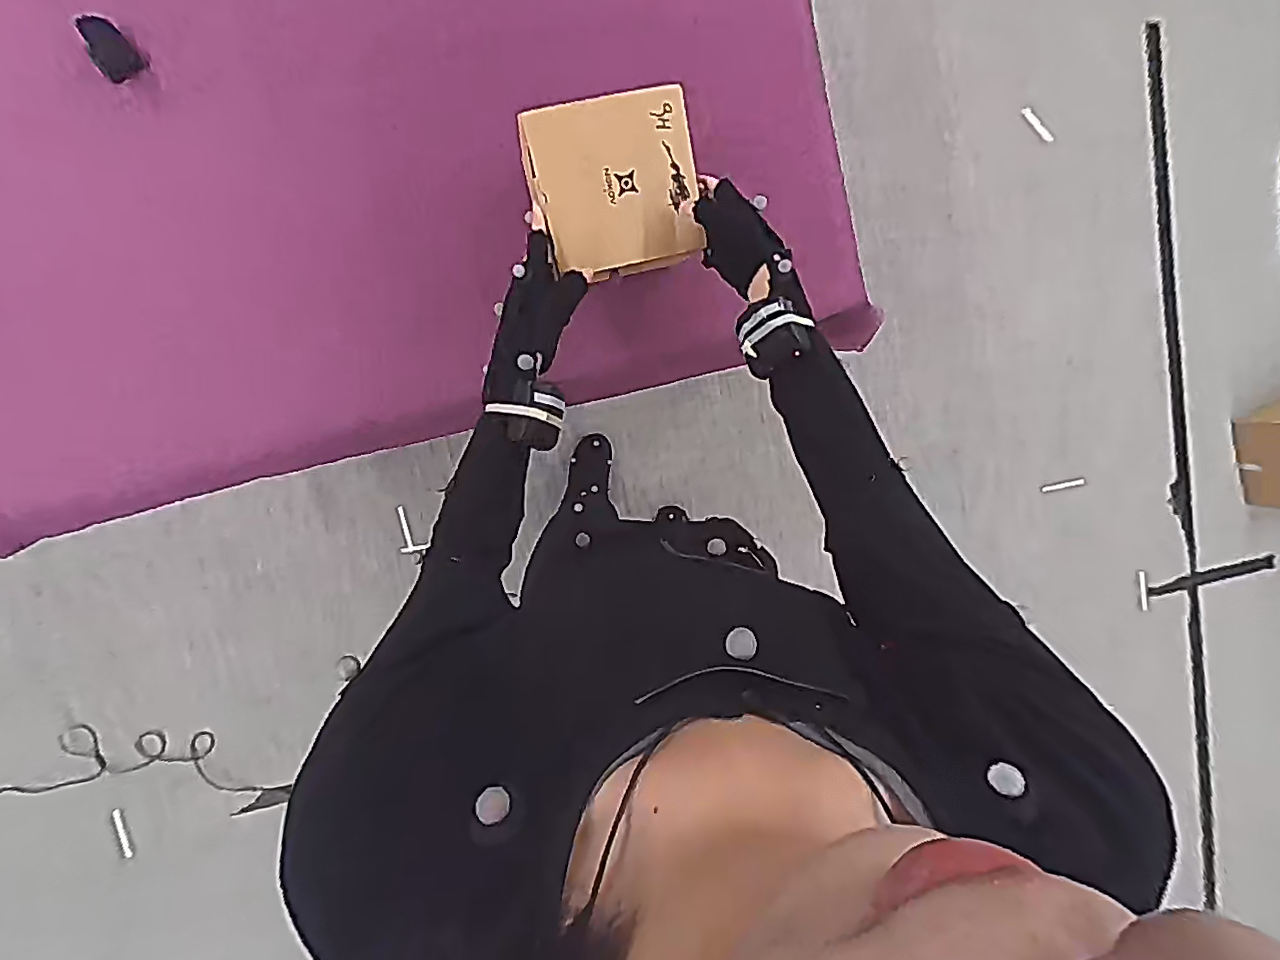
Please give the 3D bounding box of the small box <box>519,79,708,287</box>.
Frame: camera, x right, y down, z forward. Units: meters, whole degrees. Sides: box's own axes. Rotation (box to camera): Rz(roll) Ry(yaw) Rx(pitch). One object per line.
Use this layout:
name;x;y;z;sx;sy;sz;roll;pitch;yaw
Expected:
small box;-0.033;-0.341;0.656;0.179;0.176;0.168;-15;106;-4
